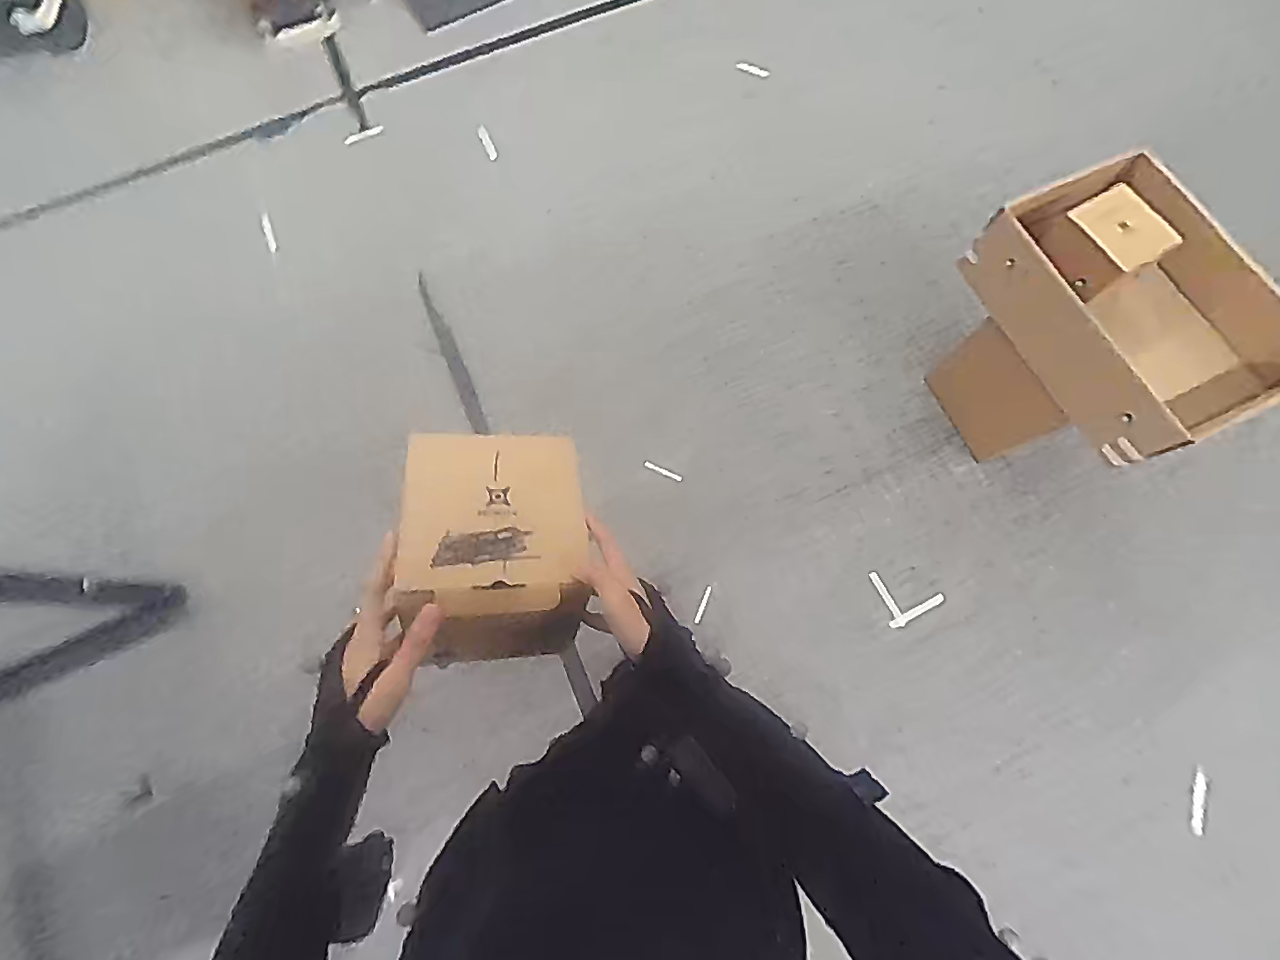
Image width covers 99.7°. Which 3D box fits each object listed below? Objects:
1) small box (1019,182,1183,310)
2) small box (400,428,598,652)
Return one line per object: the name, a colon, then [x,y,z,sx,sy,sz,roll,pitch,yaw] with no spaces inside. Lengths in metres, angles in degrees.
small box: [1.005,-0.504,1.195,0.168,0.176,0.179,-29,75,-8]
small box: [-0.144,0.068,0.563,0.168,0.176,0.179,1,51,-17]
